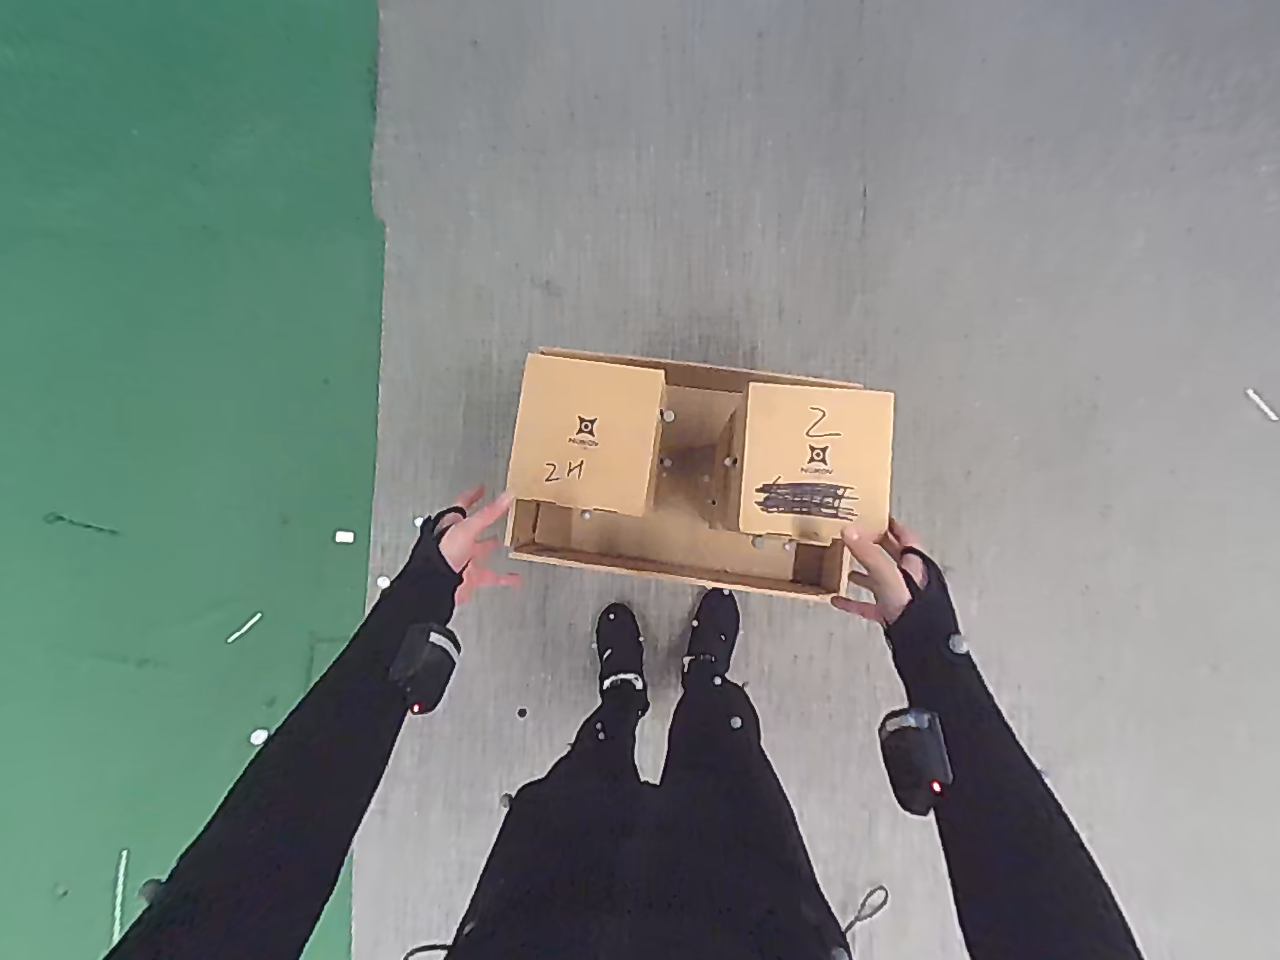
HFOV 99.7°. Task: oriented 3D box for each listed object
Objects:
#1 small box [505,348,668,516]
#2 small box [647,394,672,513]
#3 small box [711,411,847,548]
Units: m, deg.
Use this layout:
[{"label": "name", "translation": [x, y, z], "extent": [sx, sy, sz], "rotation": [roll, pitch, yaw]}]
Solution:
[{"label": "small box", "translation": [-0.059, -0.051, 0.700], "extent": [0.168, 0.176, 0.179], "rotation": [9, 87, 4]}, {"label": "small box", "translation": [-0.044, -0.046, 0.864], "extent": [0.168, 0.176, 0.179], "rotation": [8, 87, 4]}, {"label": "small box", "translation": [0.205, 0.003, 0.841], "extent": [0.168, 0.176, 0.179], "rotation": [8, 86, 4]}]
